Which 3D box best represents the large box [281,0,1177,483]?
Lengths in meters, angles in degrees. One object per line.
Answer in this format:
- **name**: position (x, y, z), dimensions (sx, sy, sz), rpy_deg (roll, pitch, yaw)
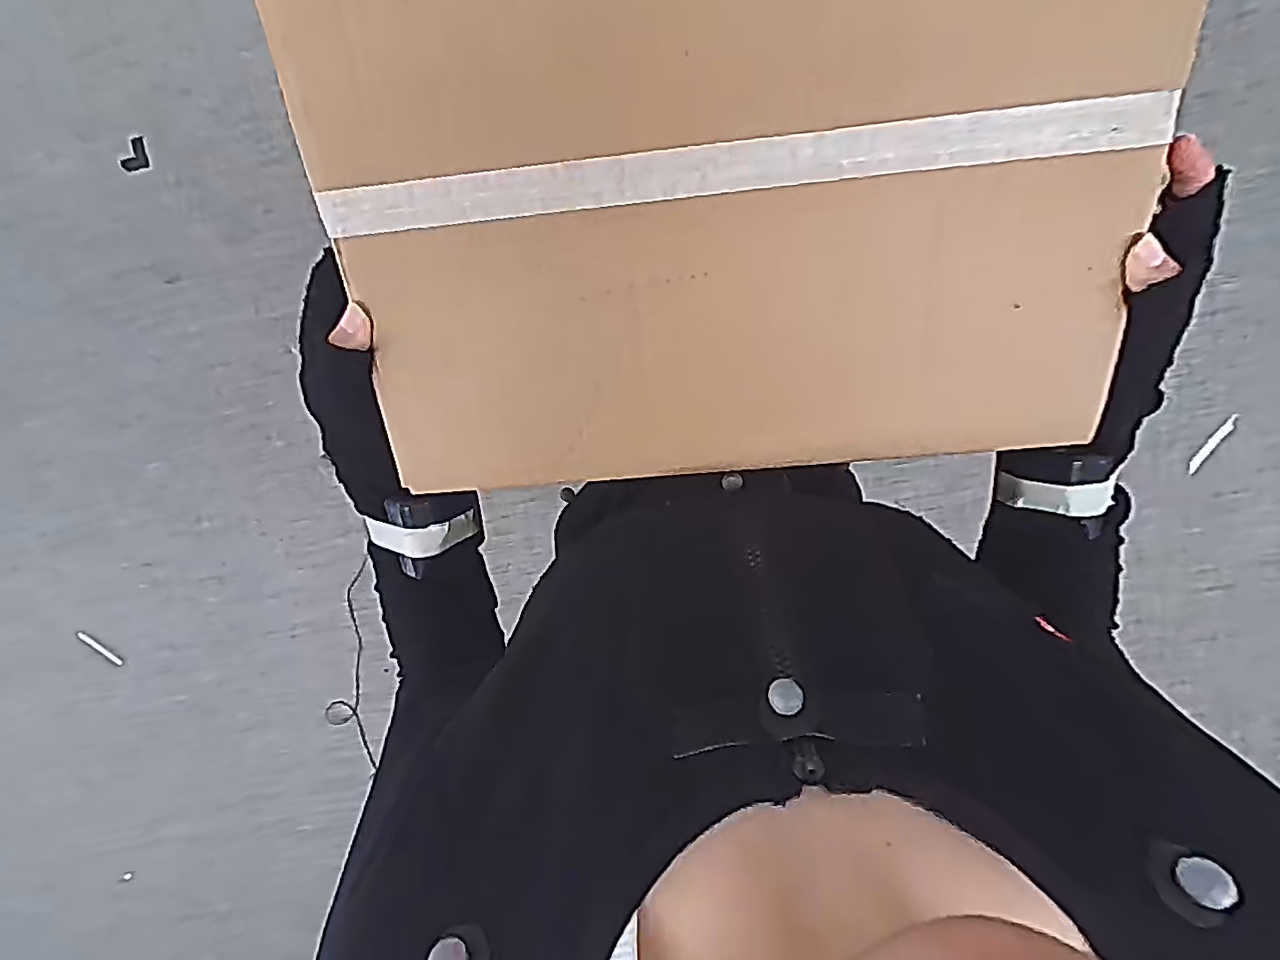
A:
- **large box**: position (0.043, -0.213, 0.406), dimensions (0.408, 0.320, 0.320), rpy_deg (-4, 115, 3)
